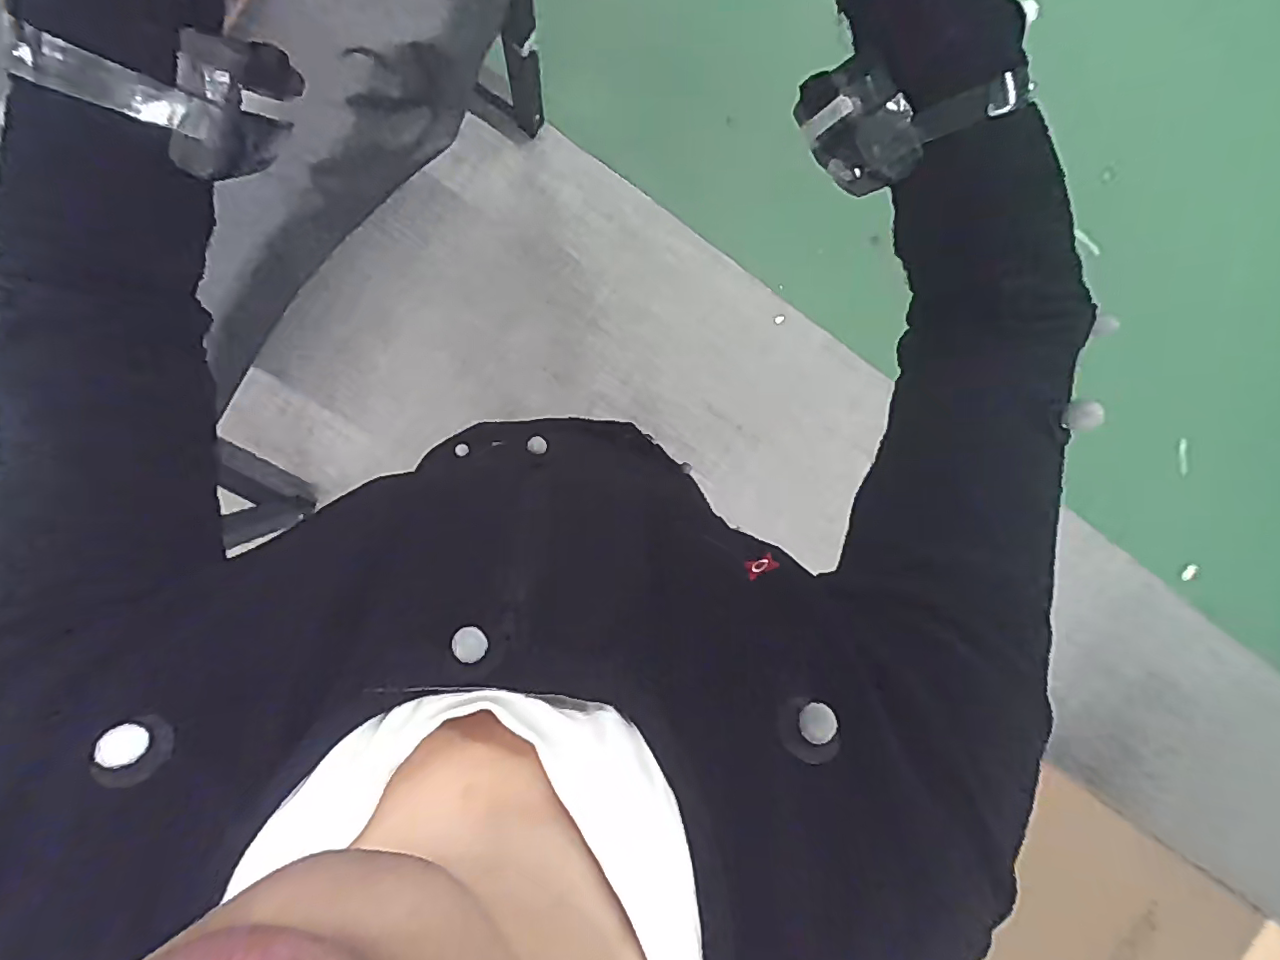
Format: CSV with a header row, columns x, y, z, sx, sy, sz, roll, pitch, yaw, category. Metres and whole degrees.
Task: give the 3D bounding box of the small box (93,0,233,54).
x,y,z,sx,sy,sz,roll,pitch,yaw,category
-0.529,-0.577,0.531,0.179,0.176,0.168,33,91,-8,small box
